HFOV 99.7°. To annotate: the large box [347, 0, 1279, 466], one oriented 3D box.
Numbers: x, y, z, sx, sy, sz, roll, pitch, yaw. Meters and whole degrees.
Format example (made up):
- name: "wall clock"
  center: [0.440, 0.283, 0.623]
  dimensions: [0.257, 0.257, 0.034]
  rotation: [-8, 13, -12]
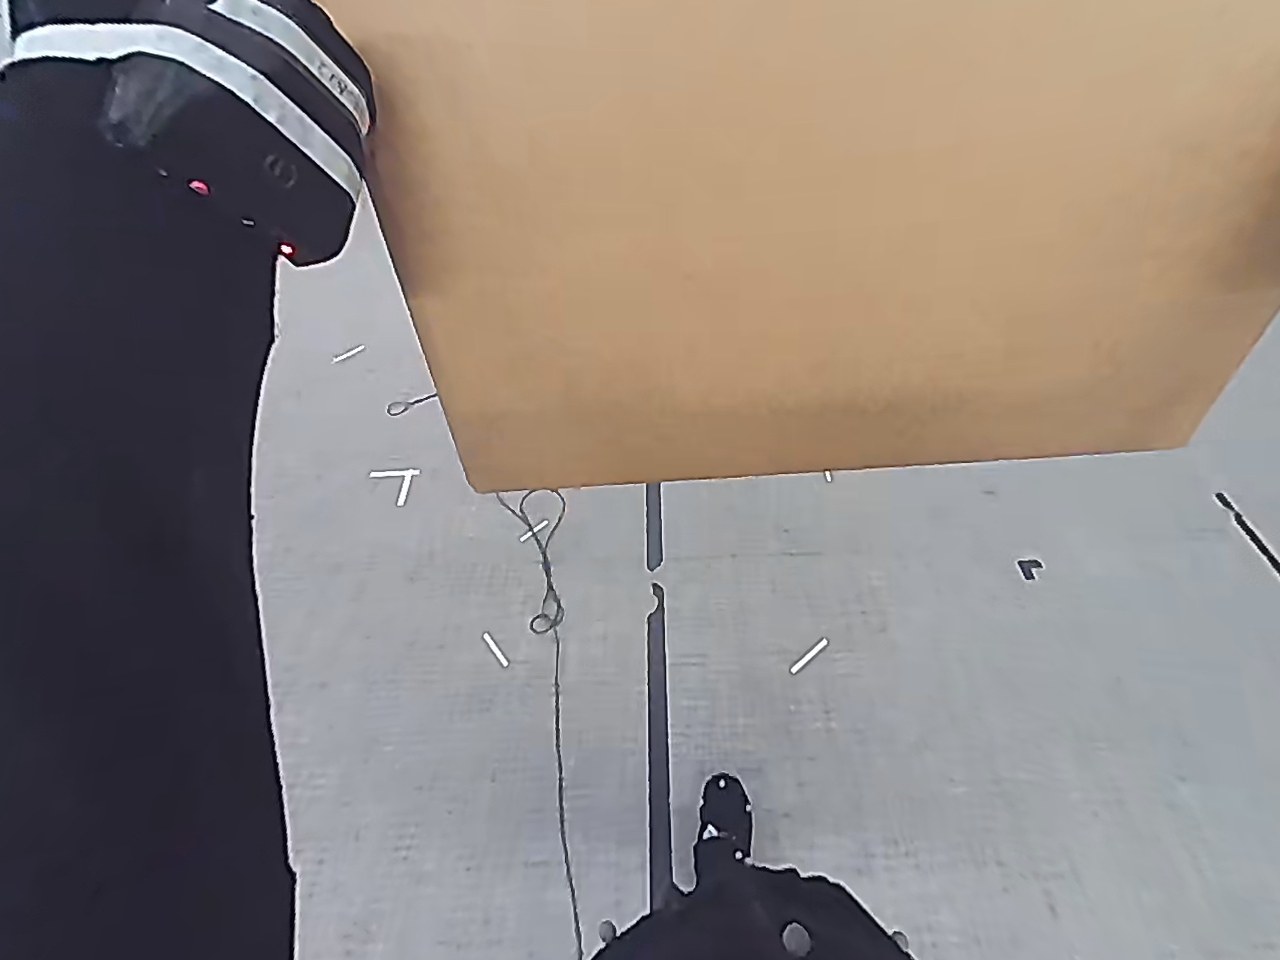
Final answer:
- name: "large box"
  center: [0.088, -0.228, 0.337]
  dimensions: [0.408, 0.320, 0.320]
  rotation: [-3, 39, 0]
